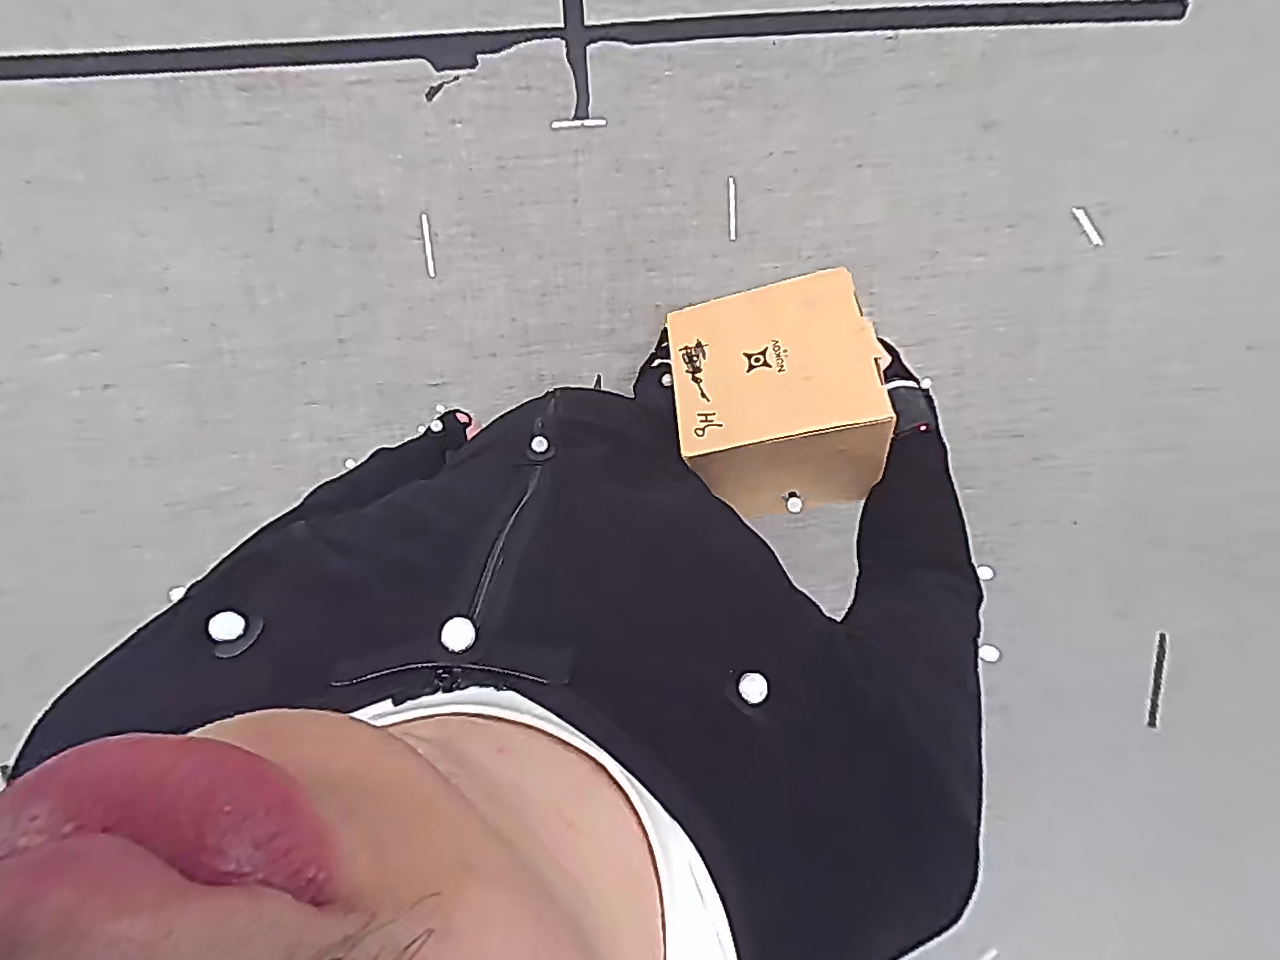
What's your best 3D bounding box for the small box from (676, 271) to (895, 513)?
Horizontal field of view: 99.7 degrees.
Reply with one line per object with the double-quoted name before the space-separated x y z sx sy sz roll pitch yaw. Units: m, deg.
"small box" 0.144 -0.079 0.565 0.179 0.176 0.168 -10 62 13
